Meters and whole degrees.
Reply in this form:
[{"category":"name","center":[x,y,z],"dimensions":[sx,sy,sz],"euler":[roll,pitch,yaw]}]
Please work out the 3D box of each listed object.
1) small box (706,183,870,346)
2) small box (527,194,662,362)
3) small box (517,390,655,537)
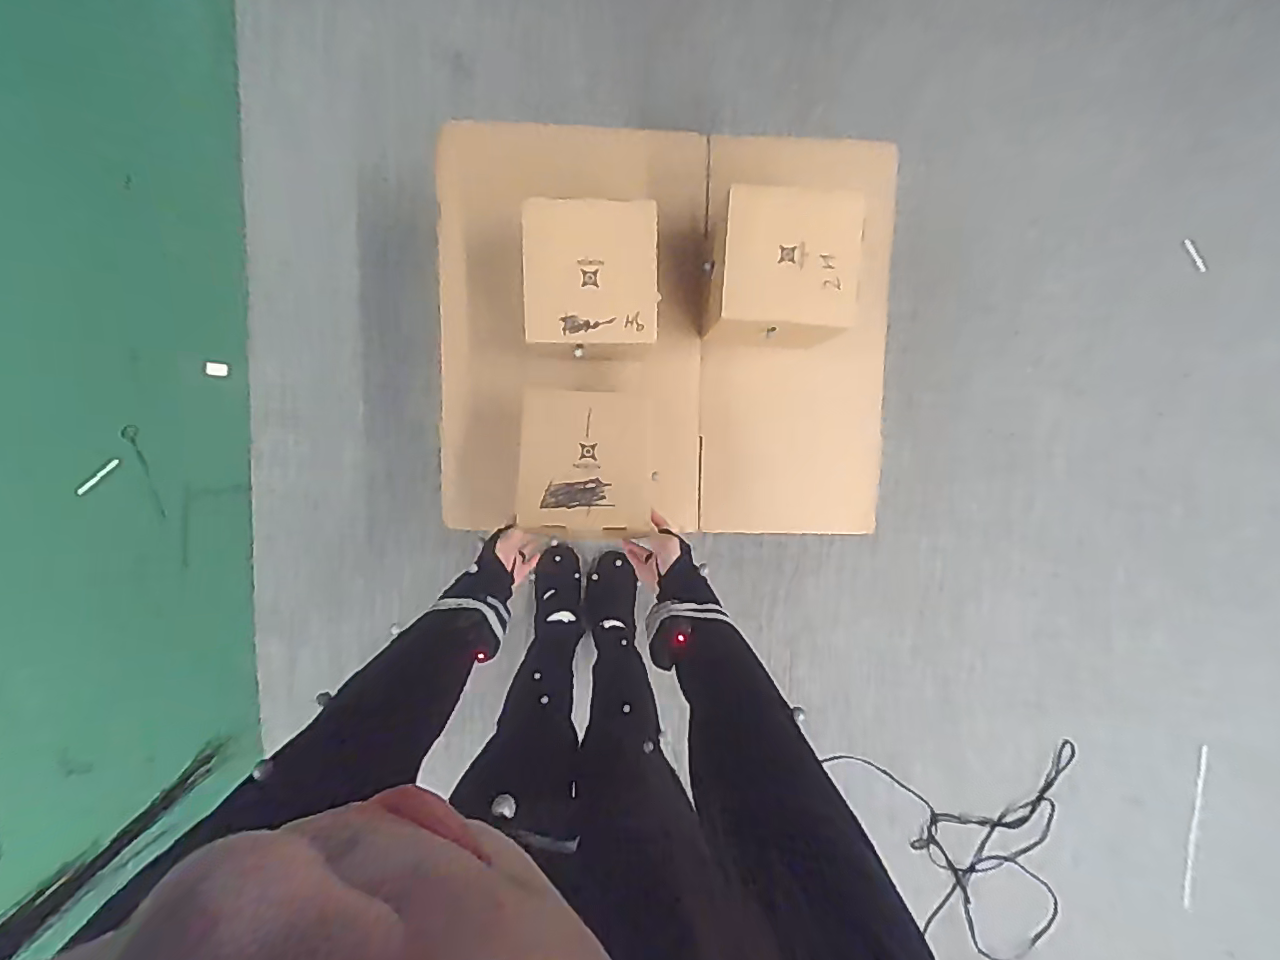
[{"category":"small box","center":[0.191,-0.286,0.753],"dimensions":[0.179,0.176,0.168],"euler":[4,95,-2]},{"category":"small box","center":[-0.060,-0.264,0.742],"dimensions":[0.168,0.176,0.179],"euler":[0,95,-2]},{"category":"small box","center":[-0.068,-0.012,0.747],"dimensions":[0.168,0.176,0.179],"euler":[2,81,-3]}]
